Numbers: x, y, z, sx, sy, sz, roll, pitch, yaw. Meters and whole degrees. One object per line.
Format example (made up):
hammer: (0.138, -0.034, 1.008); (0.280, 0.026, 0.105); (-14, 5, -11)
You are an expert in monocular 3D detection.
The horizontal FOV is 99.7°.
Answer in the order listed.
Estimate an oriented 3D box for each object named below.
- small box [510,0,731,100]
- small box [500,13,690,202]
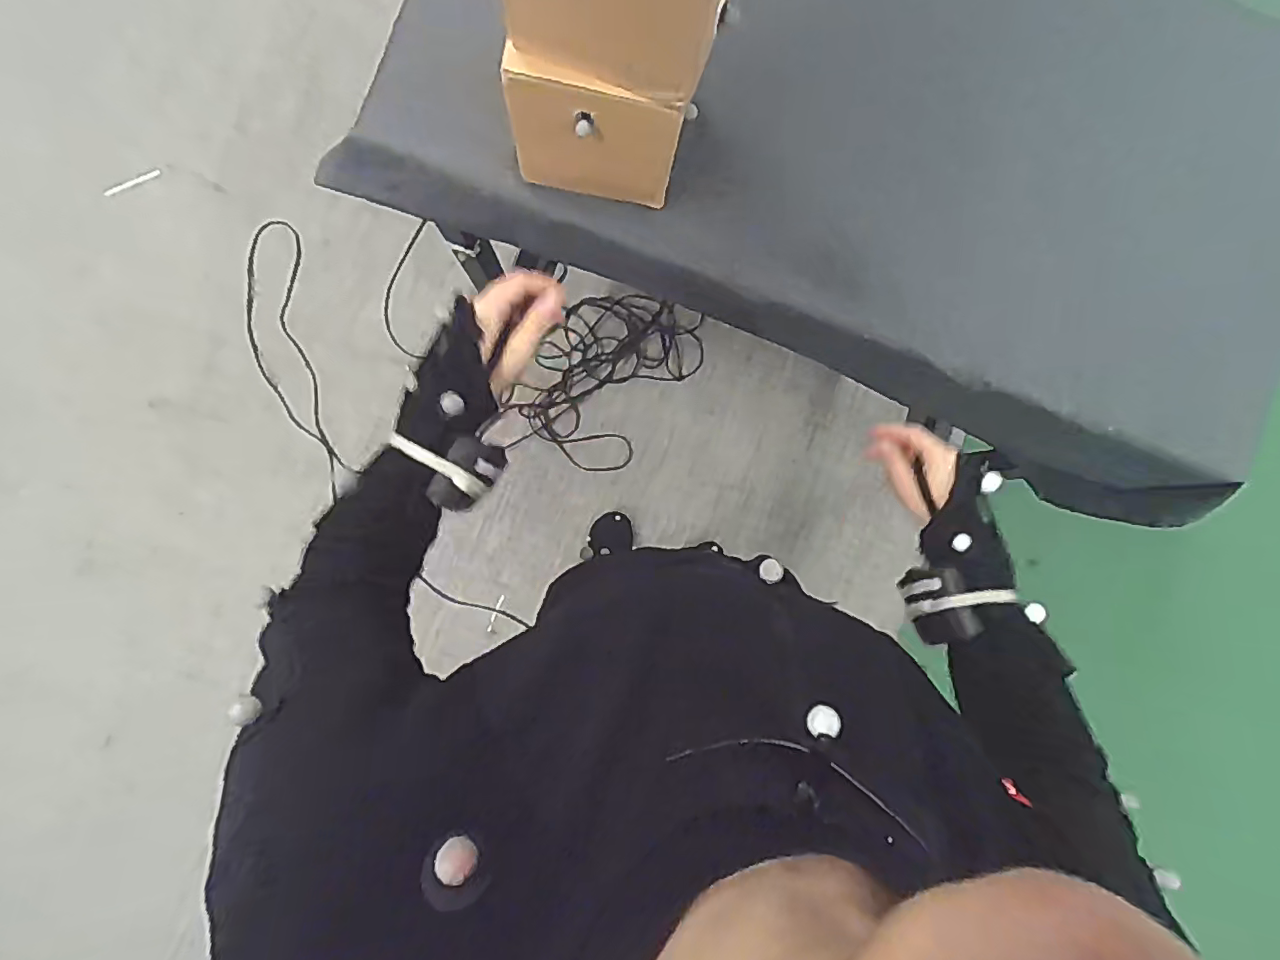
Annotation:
small box: (-0.004, -0.449, 0.422); (0.179, 0.176, 0.168); (19, 87, -3)
small box: (-0.034, -0.432, 0.582); (0.179, 0.176, 0.168); (10, 86, -3)
